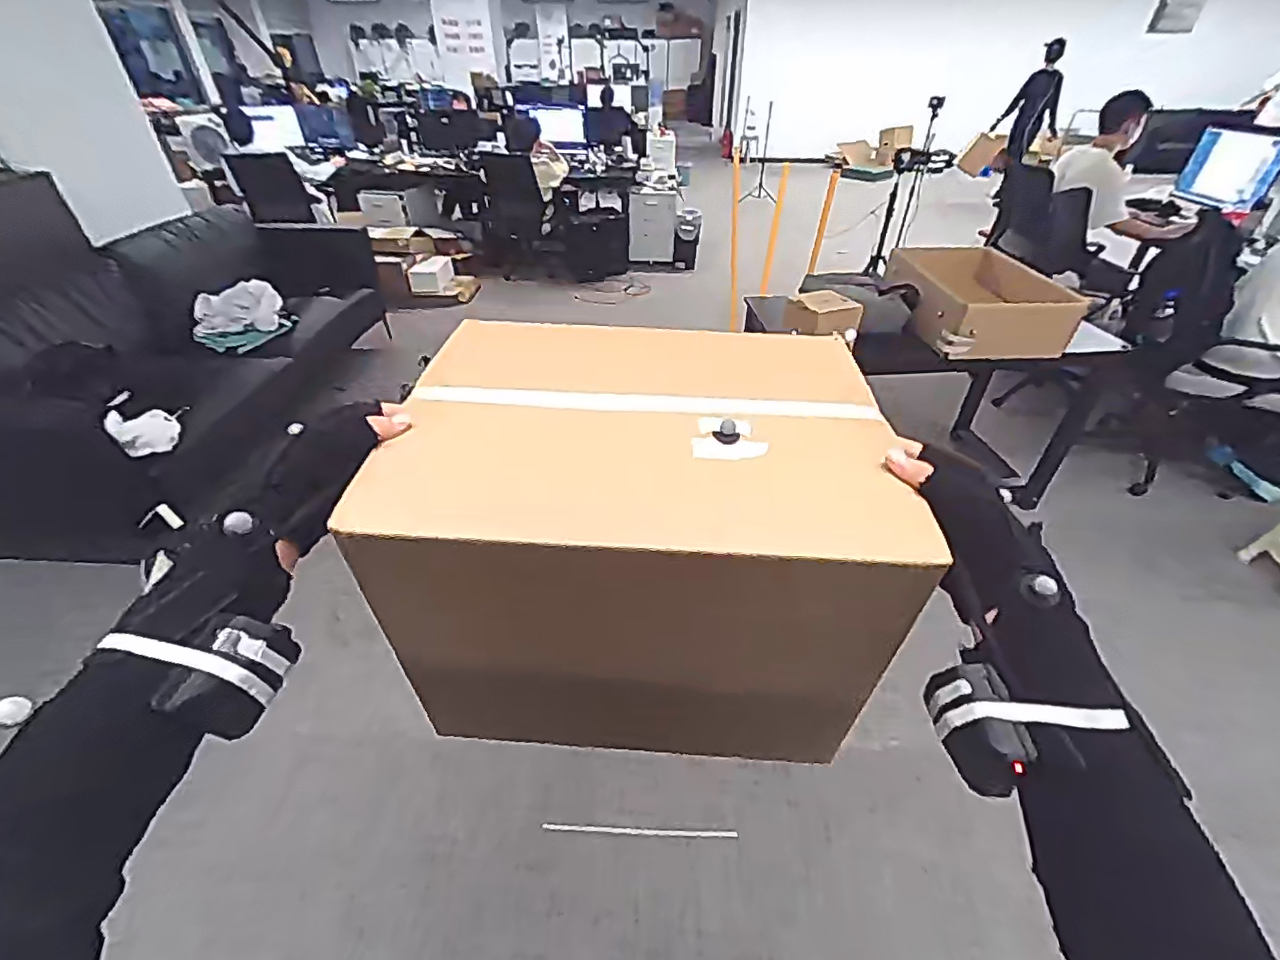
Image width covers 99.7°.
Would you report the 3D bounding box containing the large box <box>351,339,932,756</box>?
[{"bbox_3d":[0.001,0.065,0.570,0.408,0.320,0.320,3,42,2],"label":"large box"}]
